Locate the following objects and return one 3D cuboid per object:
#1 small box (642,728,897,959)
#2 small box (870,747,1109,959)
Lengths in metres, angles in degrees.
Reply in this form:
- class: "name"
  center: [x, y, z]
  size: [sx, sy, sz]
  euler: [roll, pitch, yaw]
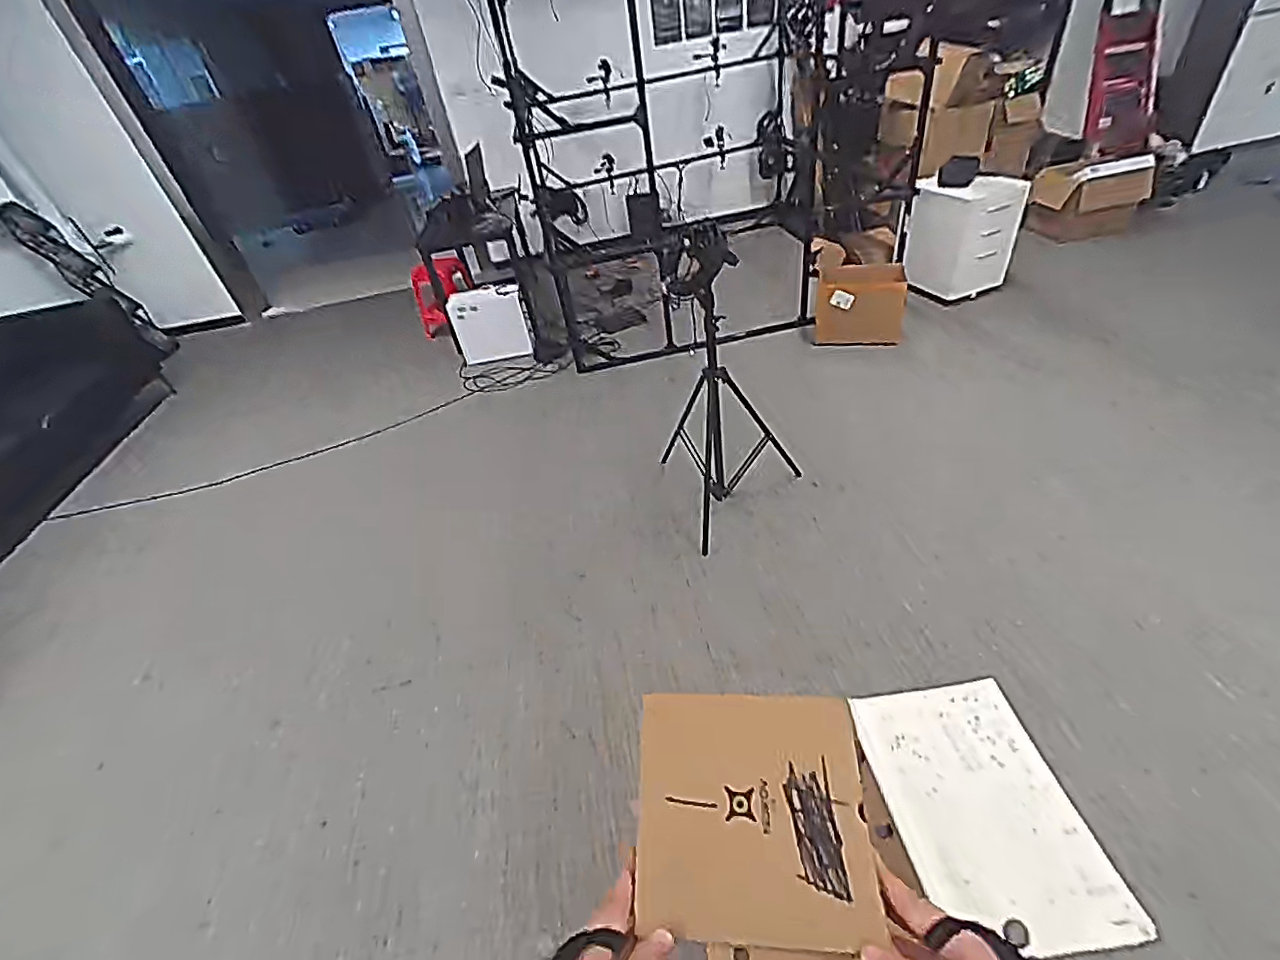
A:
- class: "small box"
  center: [0.099, 0.326, 0.473]
  size: [0.179, 0.176, 0.168]
  euler: [-1, 53, 7]
- class: "small box"
  center: [0.388, 0.460, 0.654]
  size: [0.168, 0.176, 0.179]
  euler: [-10, 40, -3]
